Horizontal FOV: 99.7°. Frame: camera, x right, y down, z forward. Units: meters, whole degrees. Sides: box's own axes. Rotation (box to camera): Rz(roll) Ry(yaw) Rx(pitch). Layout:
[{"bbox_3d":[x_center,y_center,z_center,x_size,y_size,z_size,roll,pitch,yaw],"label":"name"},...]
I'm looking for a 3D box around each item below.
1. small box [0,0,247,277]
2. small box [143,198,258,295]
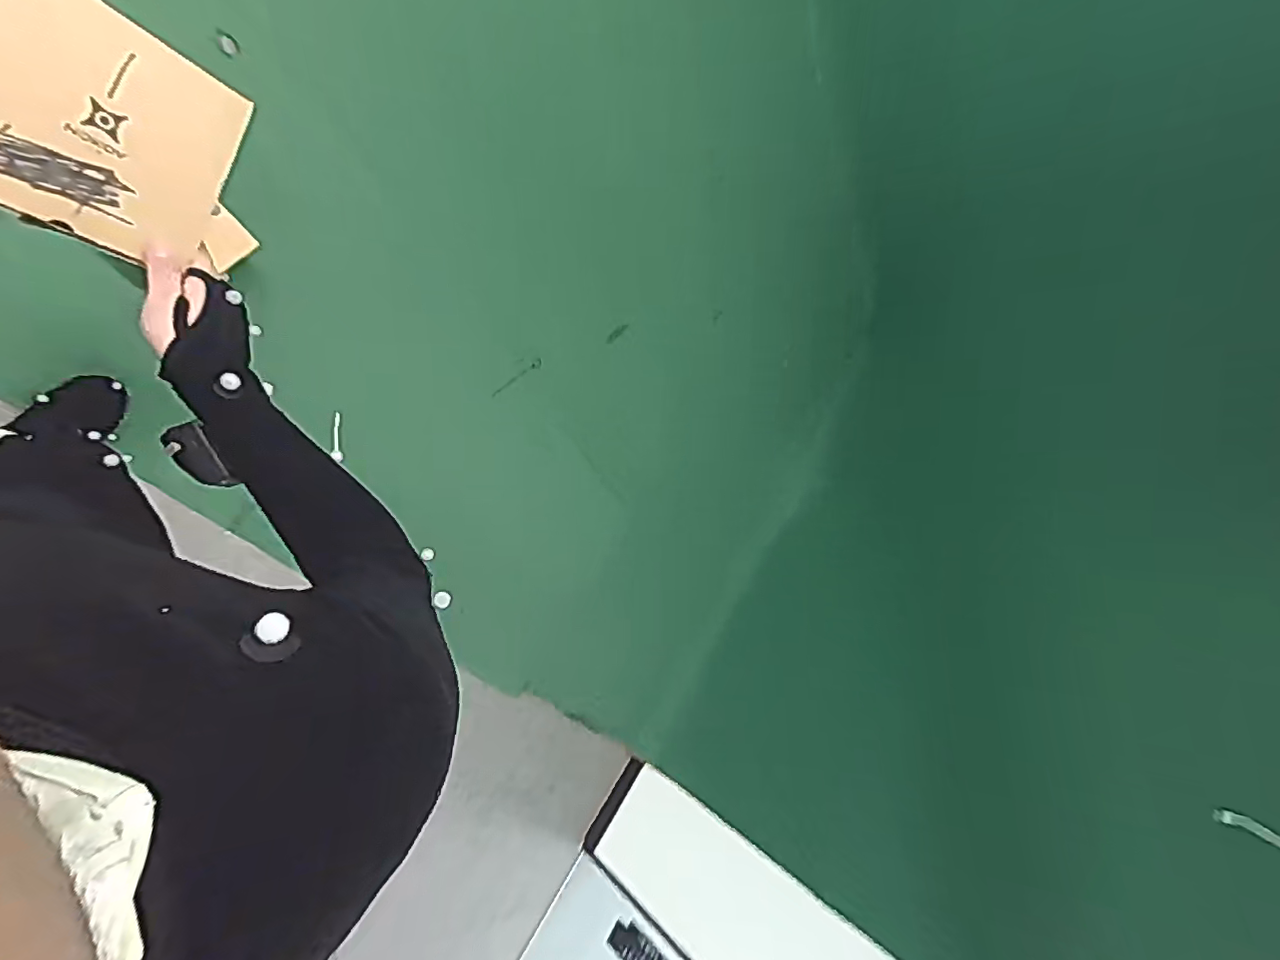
[{"bbox_3d":[-0.488,-0.307,0.471,0.168,0.176,0.179,17,96,-56],"label":"small box"},{"bbox_3d":[-0.940,-0.501,1.106,0.179,0.176,0.168,-52,134,-20],"label":"small box"}]
